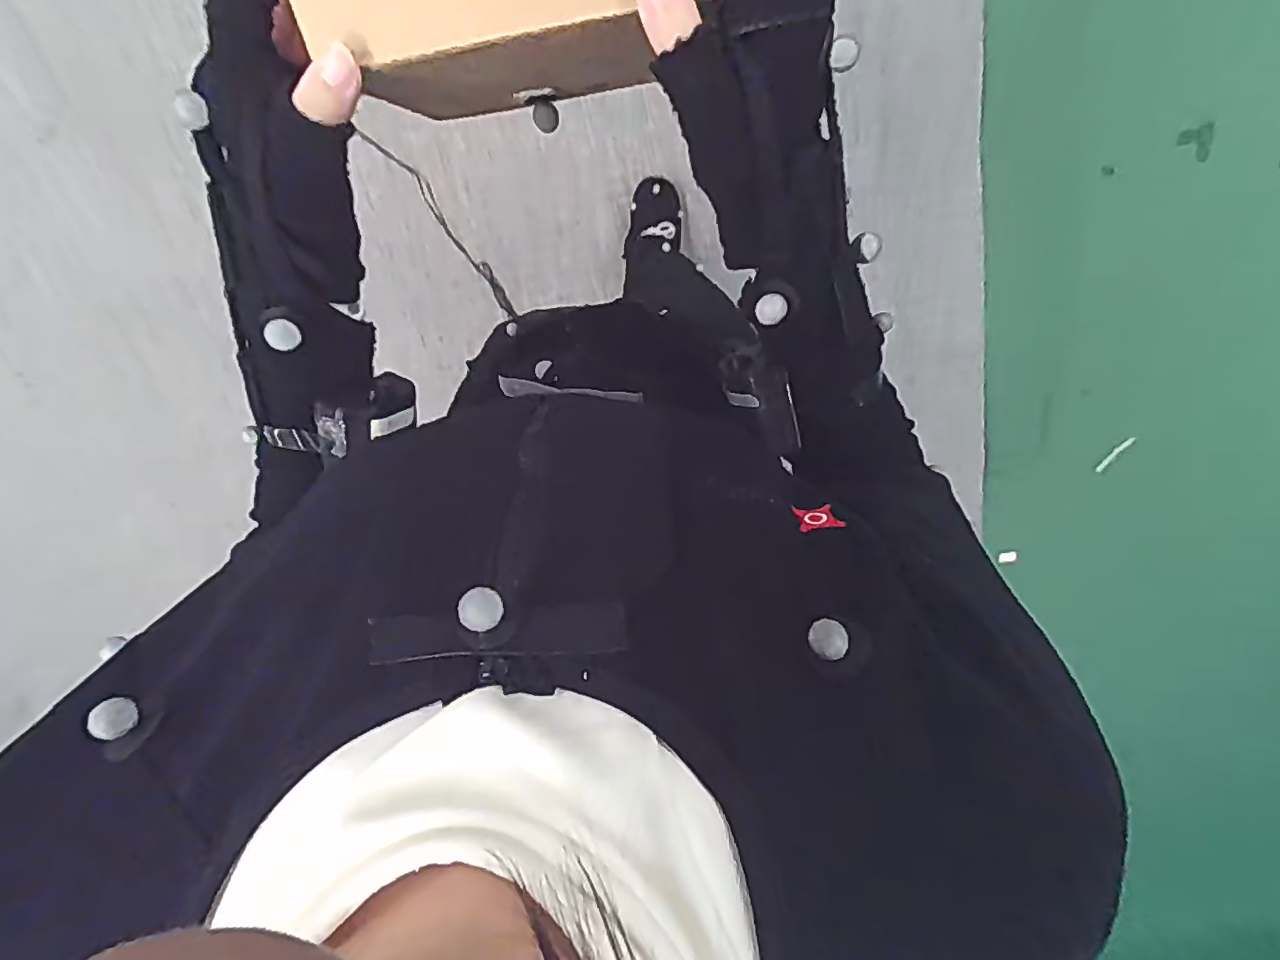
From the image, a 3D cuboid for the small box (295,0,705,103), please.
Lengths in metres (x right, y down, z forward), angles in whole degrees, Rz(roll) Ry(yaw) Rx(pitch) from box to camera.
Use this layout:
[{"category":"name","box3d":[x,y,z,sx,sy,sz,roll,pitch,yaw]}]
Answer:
[{"category":"small box","box3d":[-0.063,-0.296,0.240,0.168,0.176,0.179,-8,118,4]}]
